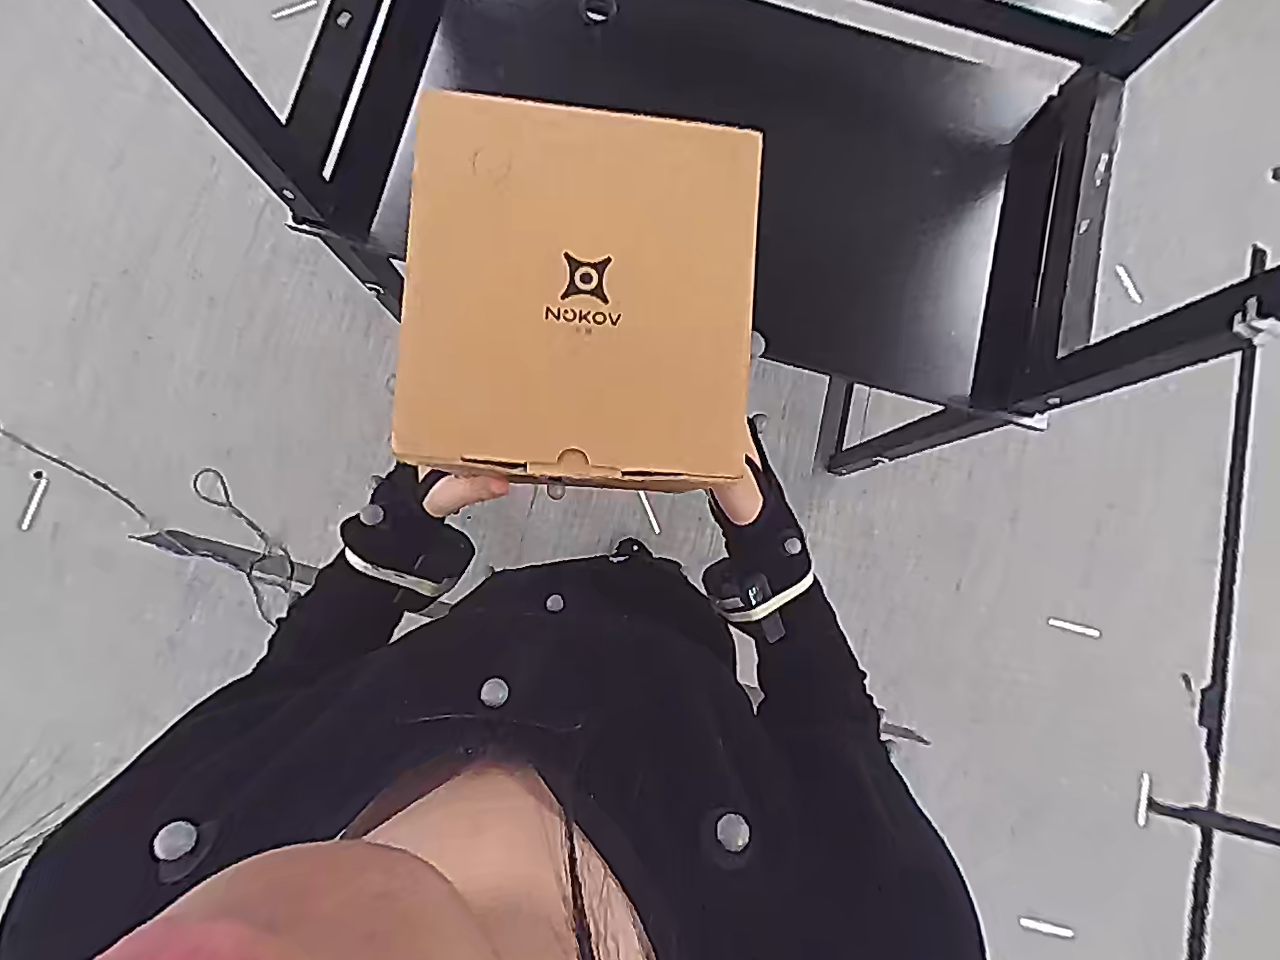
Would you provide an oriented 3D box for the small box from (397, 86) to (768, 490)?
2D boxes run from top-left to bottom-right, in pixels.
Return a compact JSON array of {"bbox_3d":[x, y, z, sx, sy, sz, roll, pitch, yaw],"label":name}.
[{"bbox_3d":[-0.030,-0.088,0.333,0.168,0.176,0.179,4,87,-5],"label":"small box"}]
